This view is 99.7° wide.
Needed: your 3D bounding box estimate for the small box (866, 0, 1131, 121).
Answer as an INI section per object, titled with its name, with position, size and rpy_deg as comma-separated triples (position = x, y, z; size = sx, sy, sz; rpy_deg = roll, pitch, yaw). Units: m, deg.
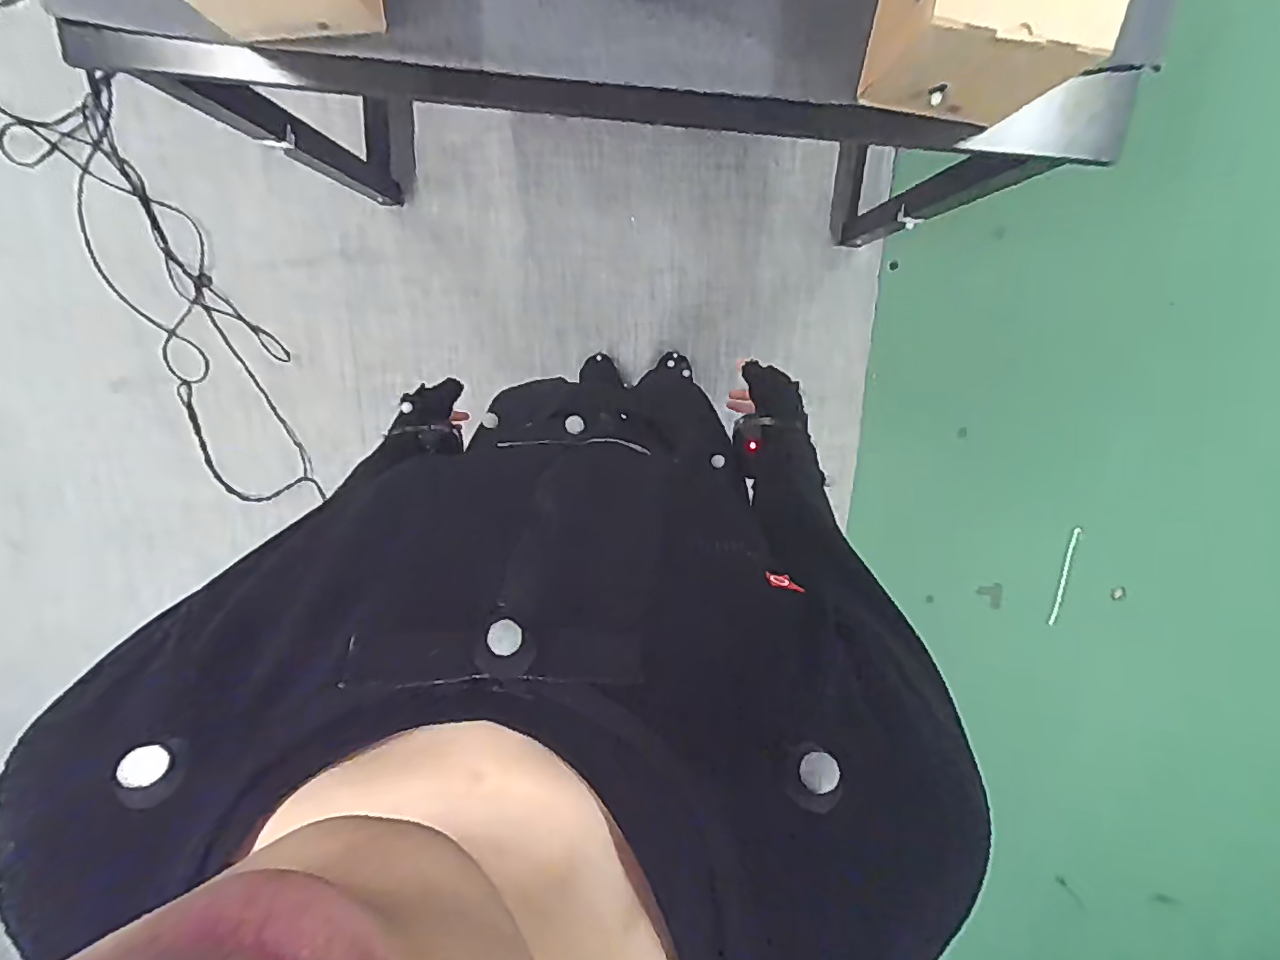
[small box]
position = 0.344, -0.486, 0.522
size = 0.168, 0.176, 0.179
rpy_deg = 9, 106, -3
